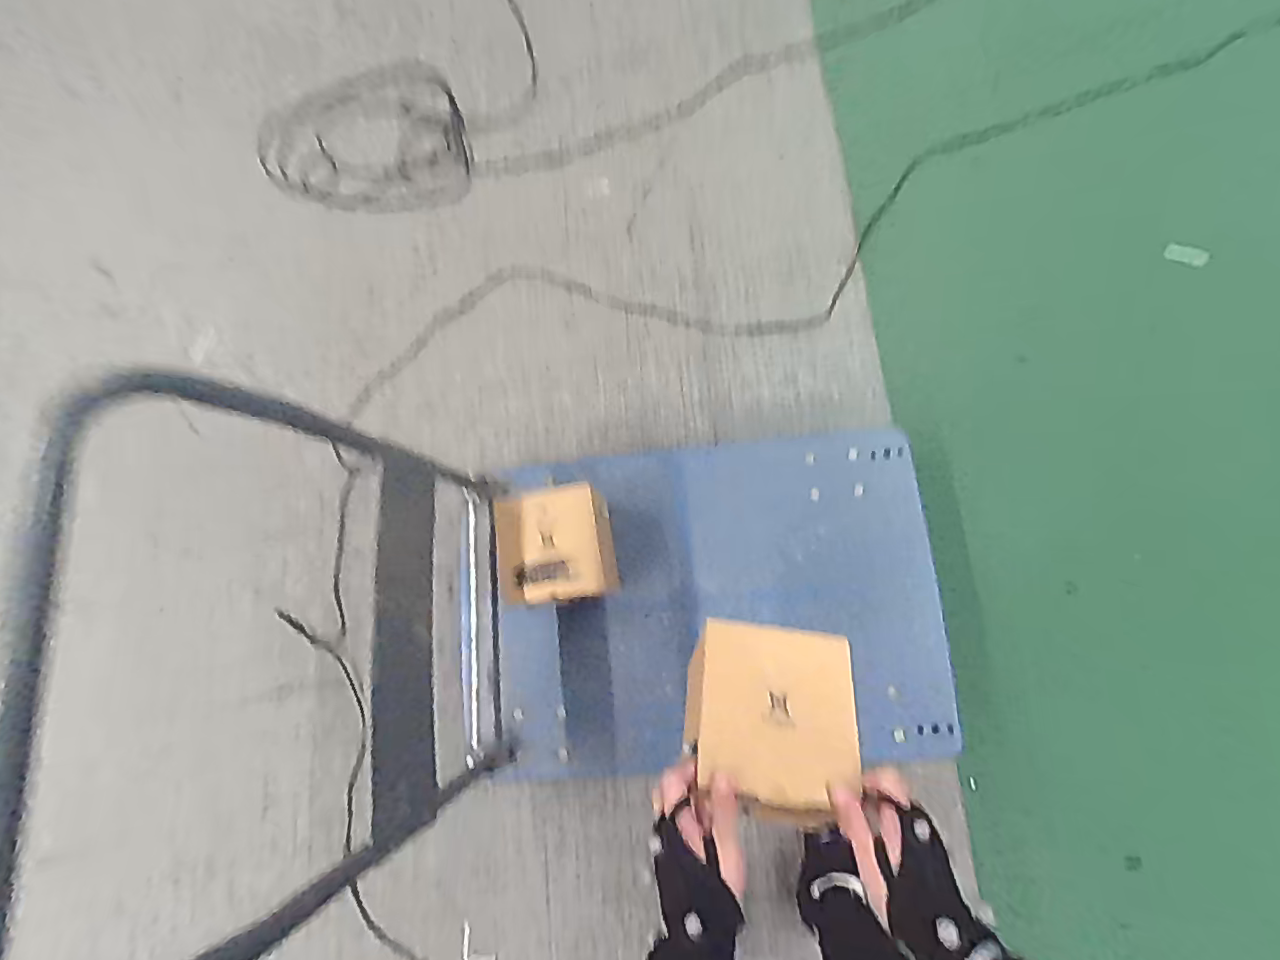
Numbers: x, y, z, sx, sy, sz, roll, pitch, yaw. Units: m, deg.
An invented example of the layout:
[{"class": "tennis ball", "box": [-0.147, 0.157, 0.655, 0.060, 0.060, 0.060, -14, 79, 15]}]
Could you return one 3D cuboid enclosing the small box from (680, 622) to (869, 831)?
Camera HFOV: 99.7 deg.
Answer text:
[{"class": "small box", "box": [0.142, 0.288, 0.625, 0.168, 0.176, 0.179, 9, 55, 2]}]
